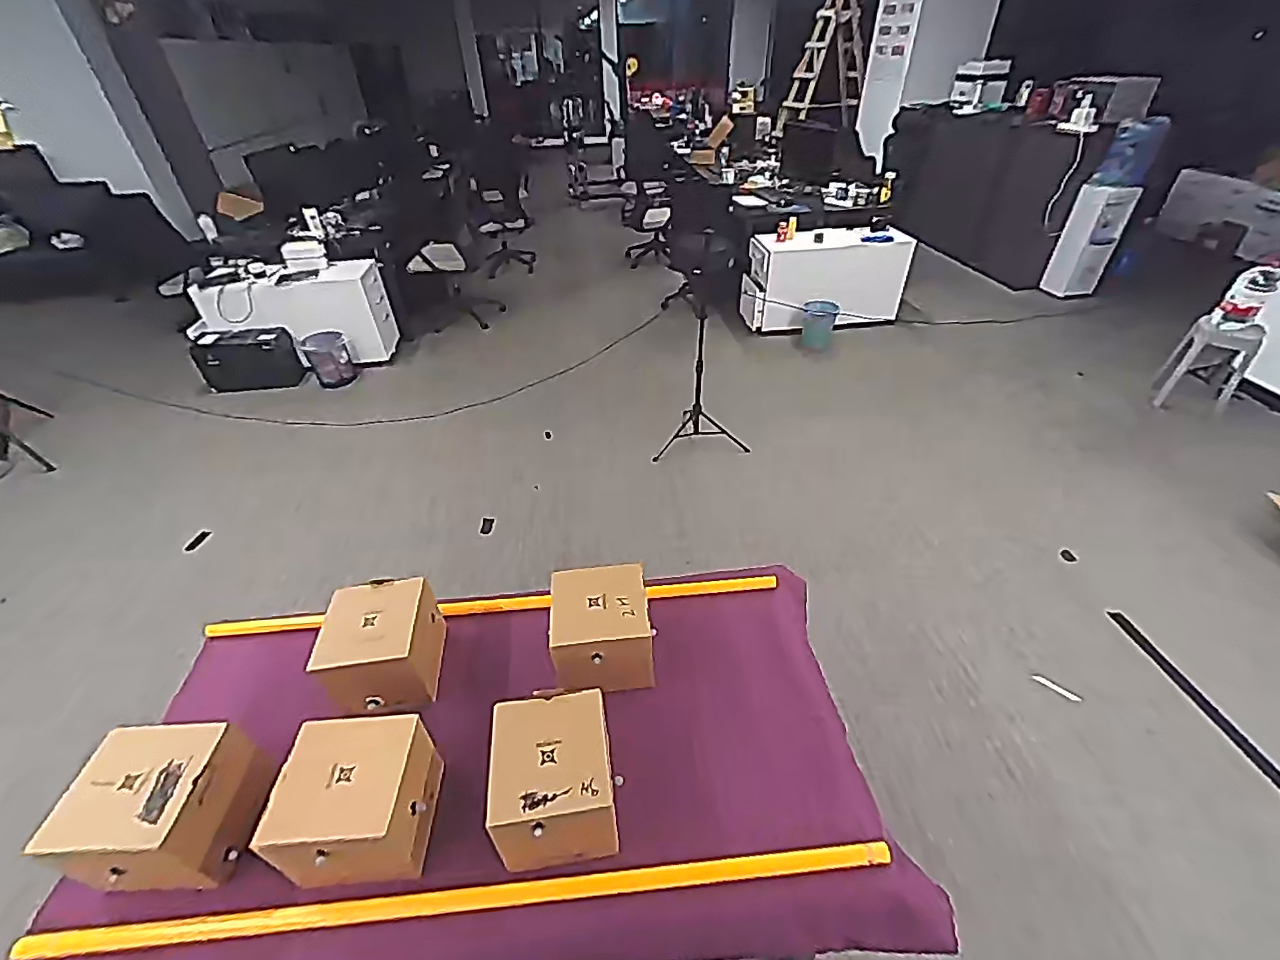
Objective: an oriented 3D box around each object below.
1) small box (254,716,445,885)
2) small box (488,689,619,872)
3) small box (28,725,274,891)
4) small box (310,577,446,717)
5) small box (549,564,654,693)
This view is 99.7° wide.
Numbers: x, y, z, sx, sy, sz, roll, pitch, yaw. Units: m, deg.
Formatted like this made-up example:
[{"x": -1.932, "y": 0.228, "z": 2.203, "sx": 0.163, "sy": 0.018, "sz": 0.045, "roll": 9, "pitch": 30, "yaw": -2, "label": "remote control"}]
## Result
[{"x": -0.407, "y": 0.473, "z": 0.800, "sx": 0.179, "sy": 0.176, "sz": 0.168, "roll": -4, "pitch": 38, "yaw": -1, "label": "small box"}, {"x": -0.123, "y": 0.449, "z": 0.815, "sx": 0.168, "sy": 0.176, "sz": 0.179, "roll": -7, "pitch": 37, "yaw": -5, "label": "small box"}, {"x": -0.691, "y": 0.482, "z": 0.796, "sx": 0.179, "sy": 0.176, "sz": 0.168, "roll": -2, "pitch": 39, "yaw": 0, "label": "small box"}, {"x": -0.471, "y": 0.309, "z": 1.006, "sx": 0.168, "sy": 0.176, "sz": 0.179, "roll": -7, "pitch": 40, "yaw": -5, "label": "small box"}, {"x": -0.070, "y": 0.283, "z": 1.020, "sx": 0.179, "sy": 0.176, "sz": 0.168, "roll": -5, "pitch": 40, "yaw": -3, "label": "small box"}]
